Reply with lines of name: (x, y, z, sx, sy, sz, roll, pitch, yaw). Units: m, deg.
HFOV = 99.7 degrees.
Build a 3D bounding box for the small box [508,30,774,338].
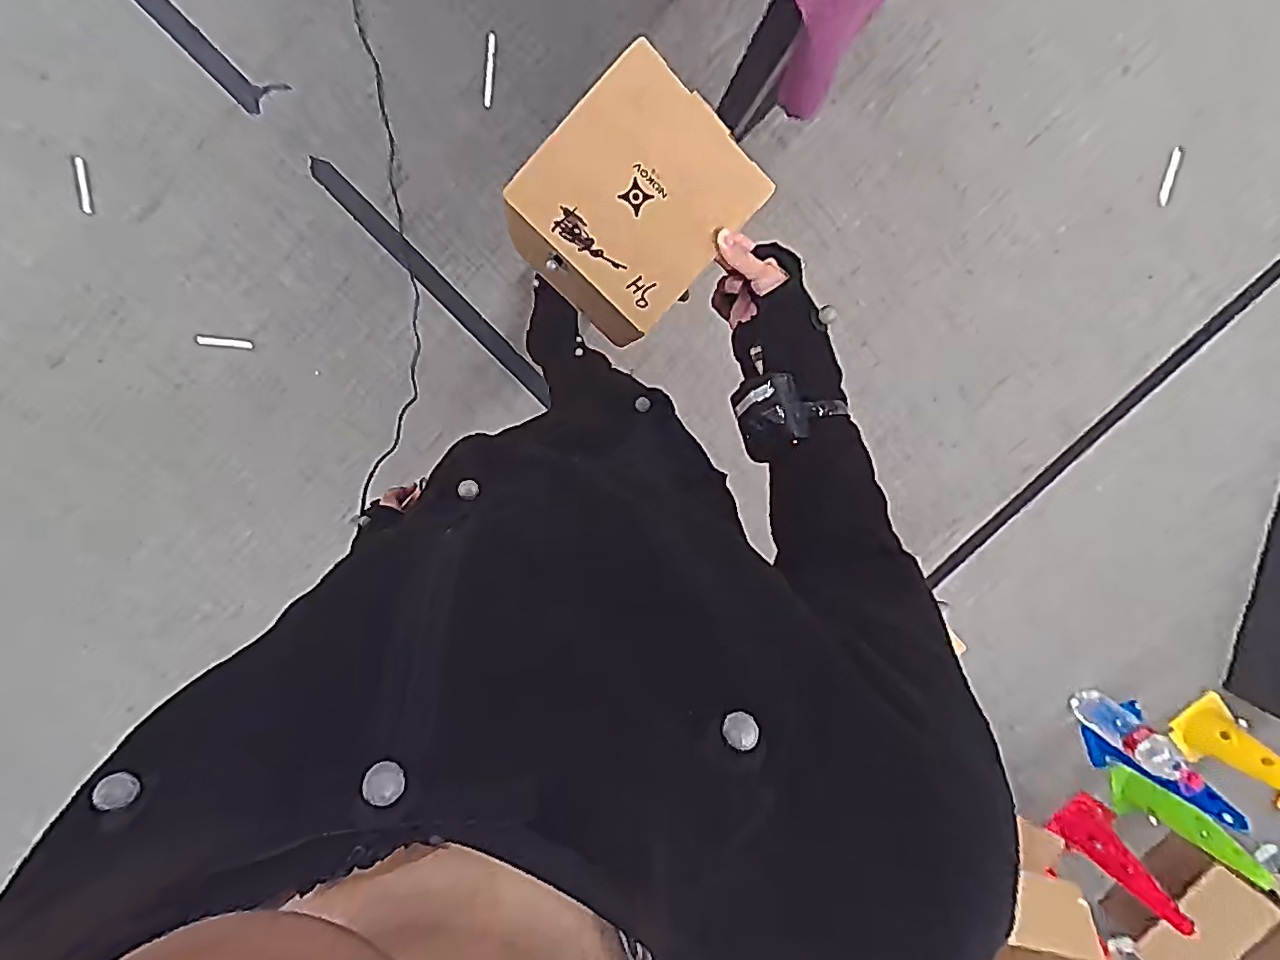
small box: (-0.010, -0.262, 0.531, 0.168, 0.176, 0.179, 42, 90, -14)
